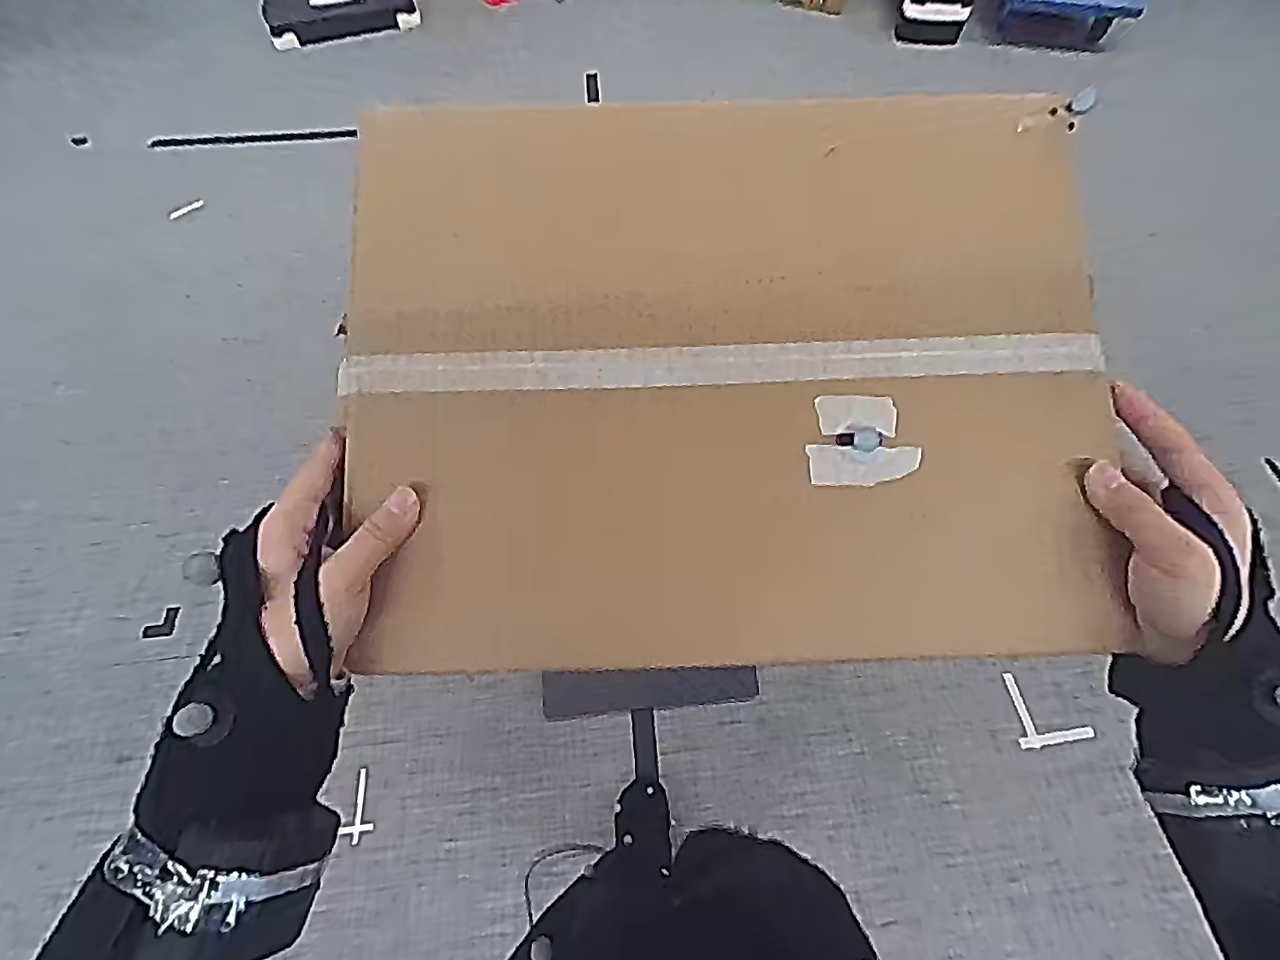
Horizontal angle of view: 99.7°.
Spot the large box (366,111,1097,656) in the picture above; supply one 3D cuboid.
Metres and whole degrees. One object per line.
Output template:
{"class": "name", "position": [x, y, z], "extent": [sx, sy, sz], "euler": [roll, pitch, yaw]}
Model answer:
{"class": "large box", "position": [0.042, -0.048, 0.456], "extent": [0.408, 0.320, 0.320], "euler": [-2, 84, -1]}

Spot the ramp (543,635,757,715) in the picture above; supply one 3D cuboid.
{"class": "ramp", "position": [-0.015, 0.034, 1.368], "extent": [0.509, 0.206, 0.991], "euler": [-6, 63, -5]}
